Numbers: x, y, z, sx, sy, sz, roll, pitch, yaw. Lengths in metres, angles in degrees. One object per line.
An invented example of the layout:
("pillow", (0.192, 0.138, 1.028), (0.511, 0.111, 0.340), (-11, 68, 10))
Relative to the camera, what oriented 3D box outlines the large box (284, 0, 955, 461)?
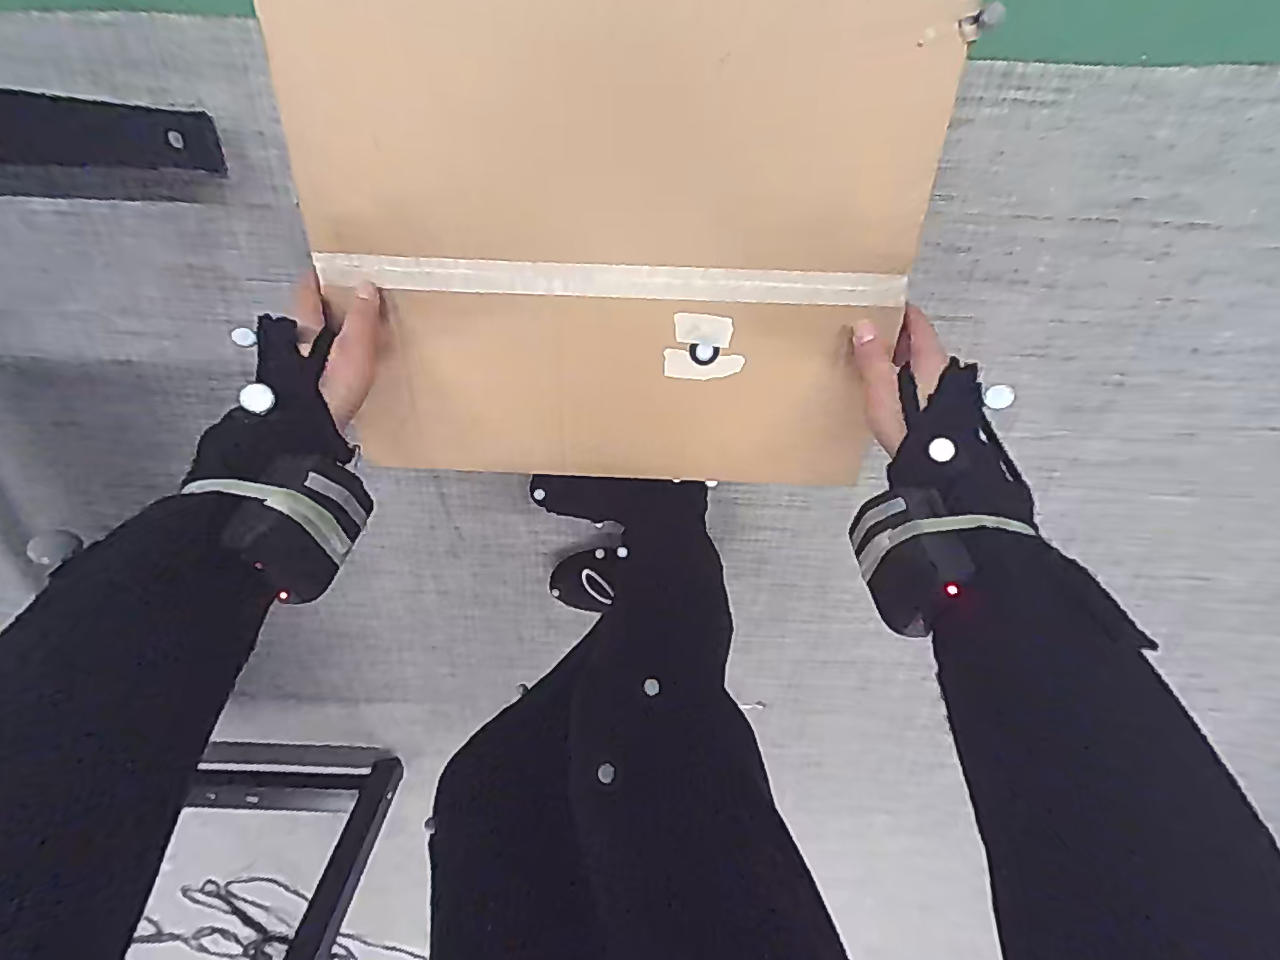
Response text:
("large box", (-0.016, -0.223, 0.515), (0.408, 0.320, 0.320), (2, 119, -1))
